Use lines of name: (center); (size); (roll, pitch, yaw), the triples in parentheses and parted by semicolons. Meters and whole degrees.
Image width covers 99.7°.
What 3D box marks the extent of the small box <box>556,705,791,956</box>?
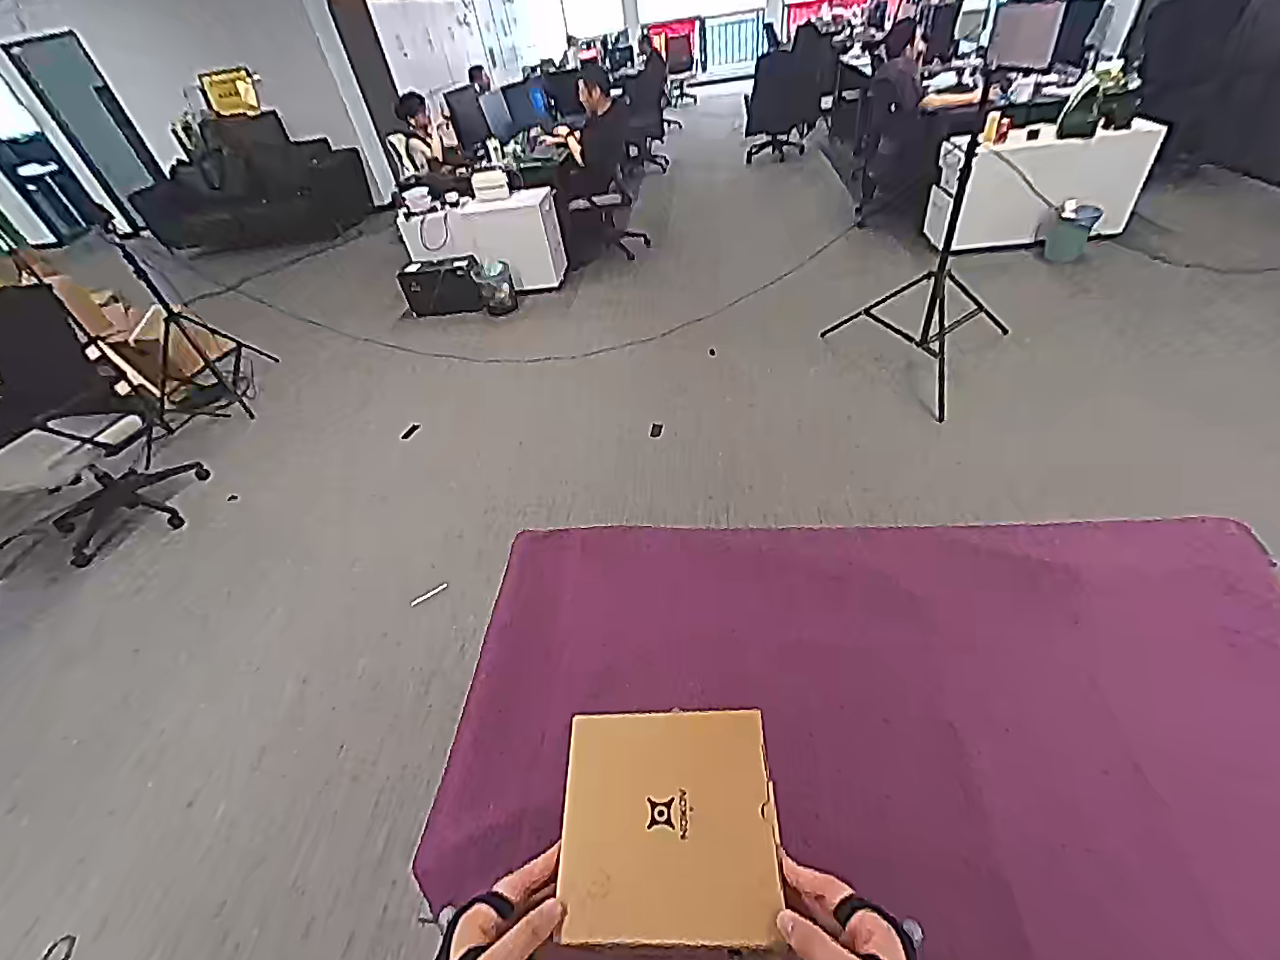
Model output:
small box: (0.035, 0.327, 0.503); (0.179, 0.176, 0.168); (-5, 45, 6)
